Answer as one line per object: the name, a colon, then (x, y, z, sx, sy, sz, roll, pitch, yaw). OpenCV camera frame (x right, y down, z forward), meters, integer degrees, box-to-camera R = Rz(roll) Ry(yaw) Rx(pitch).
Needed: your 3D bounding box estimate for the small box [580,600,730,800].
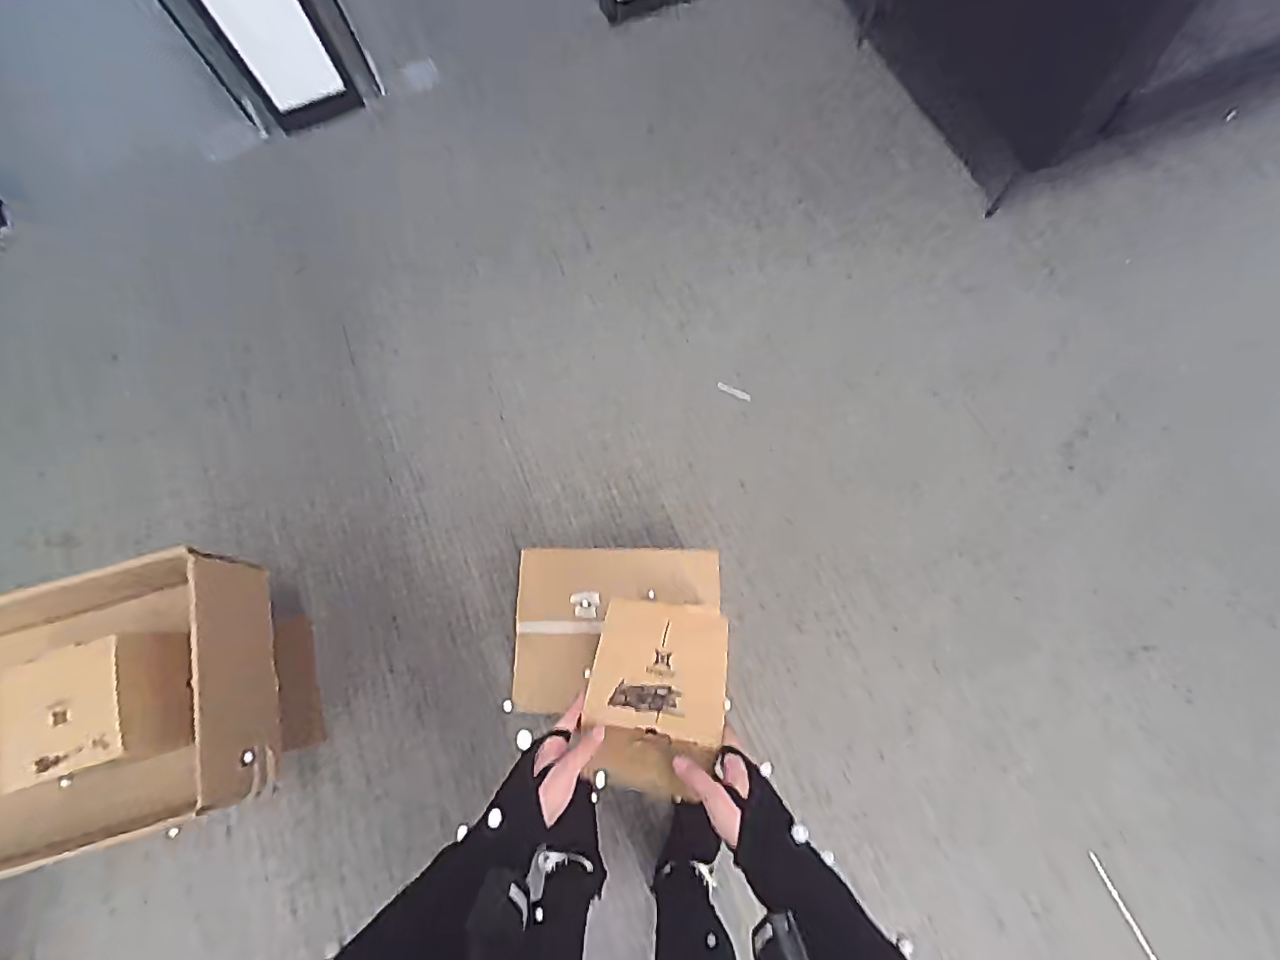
small box: (0.019, 0.292, 0.715, 0.168, 0.176, 0.179, 10, 39, 3)

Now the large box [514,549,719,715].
large box: (-0.035, 0.333, 1.197, 0.408, 0.320, 0.320, 0, 73, 2)

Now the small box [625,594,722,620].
small box: (0.046, 0.302, 0.948, 0.168, 0.176, 0.179, 6, 76, 4)

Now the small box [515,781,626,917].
small box: (-0.139, 0.780, 1.169, 0.168, 0.176, 0.179, 20, 72, 14)
